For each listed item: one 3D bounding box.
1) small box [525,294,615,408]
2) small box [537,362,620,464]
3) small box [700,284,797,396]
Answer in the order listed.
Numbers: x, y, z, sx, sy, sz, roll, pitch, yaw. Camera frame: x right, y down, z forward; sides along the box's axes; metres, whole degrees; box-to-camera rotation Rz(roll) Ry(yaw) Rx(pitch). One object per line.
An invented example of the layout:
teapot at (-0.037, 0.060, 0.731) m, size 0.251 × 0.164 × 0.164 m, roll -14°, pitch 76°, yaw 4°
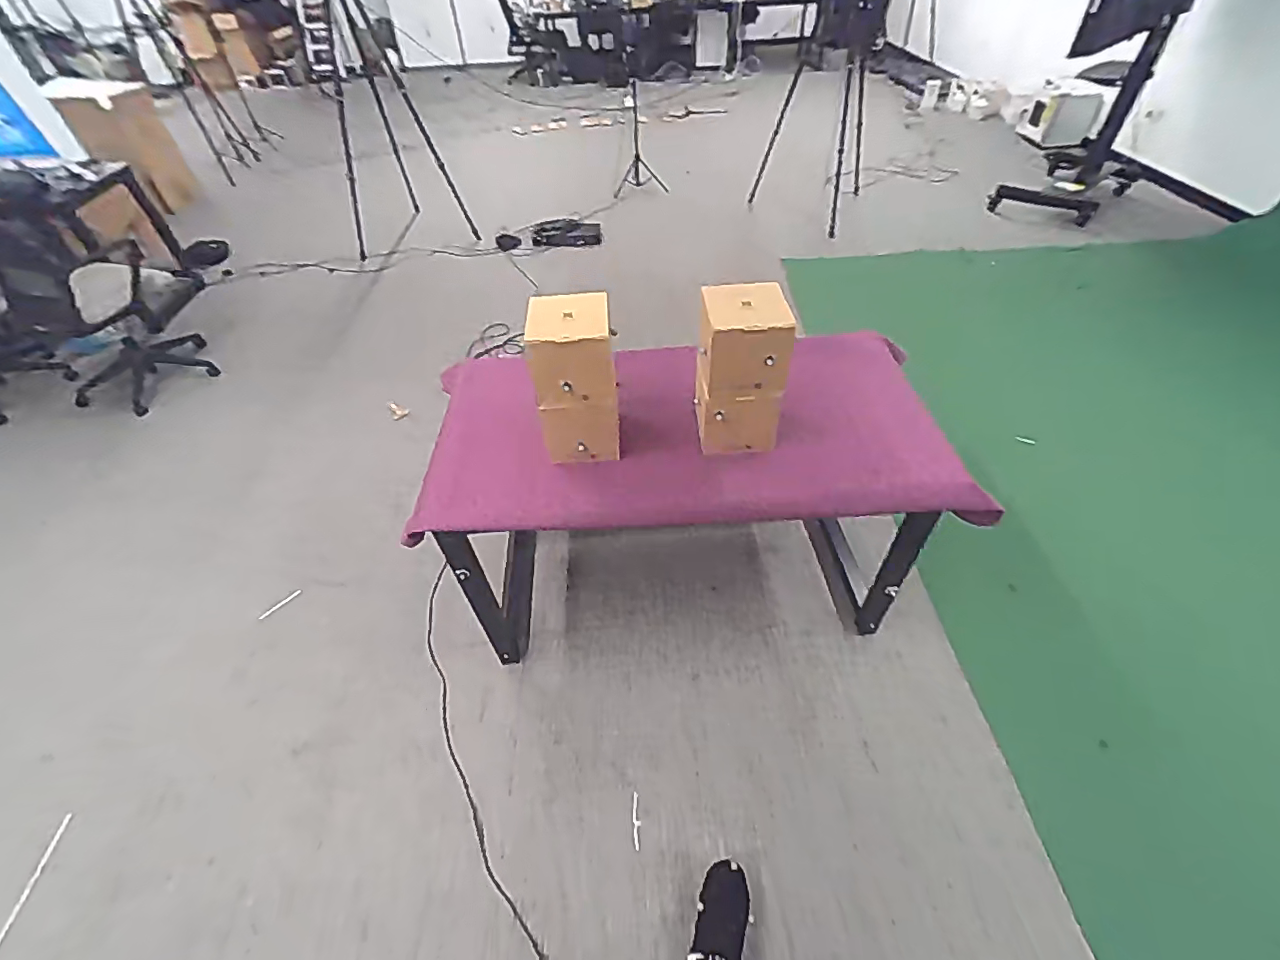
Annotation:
small box at (-0.140, -0.271, 1.136) m, size 0.168 × 0.176 × 0.179 m, roll -4°, pitch 47°, yaw -1°
small box at (-0.135, -0.157, 1.252) m, size 0.168 × 0.176 × 0.179 m, roll -3°, pitch 47°, yaw 1°
small box at (0.219, -0.289, 1.134) m, size 0.168 × 0.176 × 0.179 m, roll -3°, pitch 46°, yaw 0°
